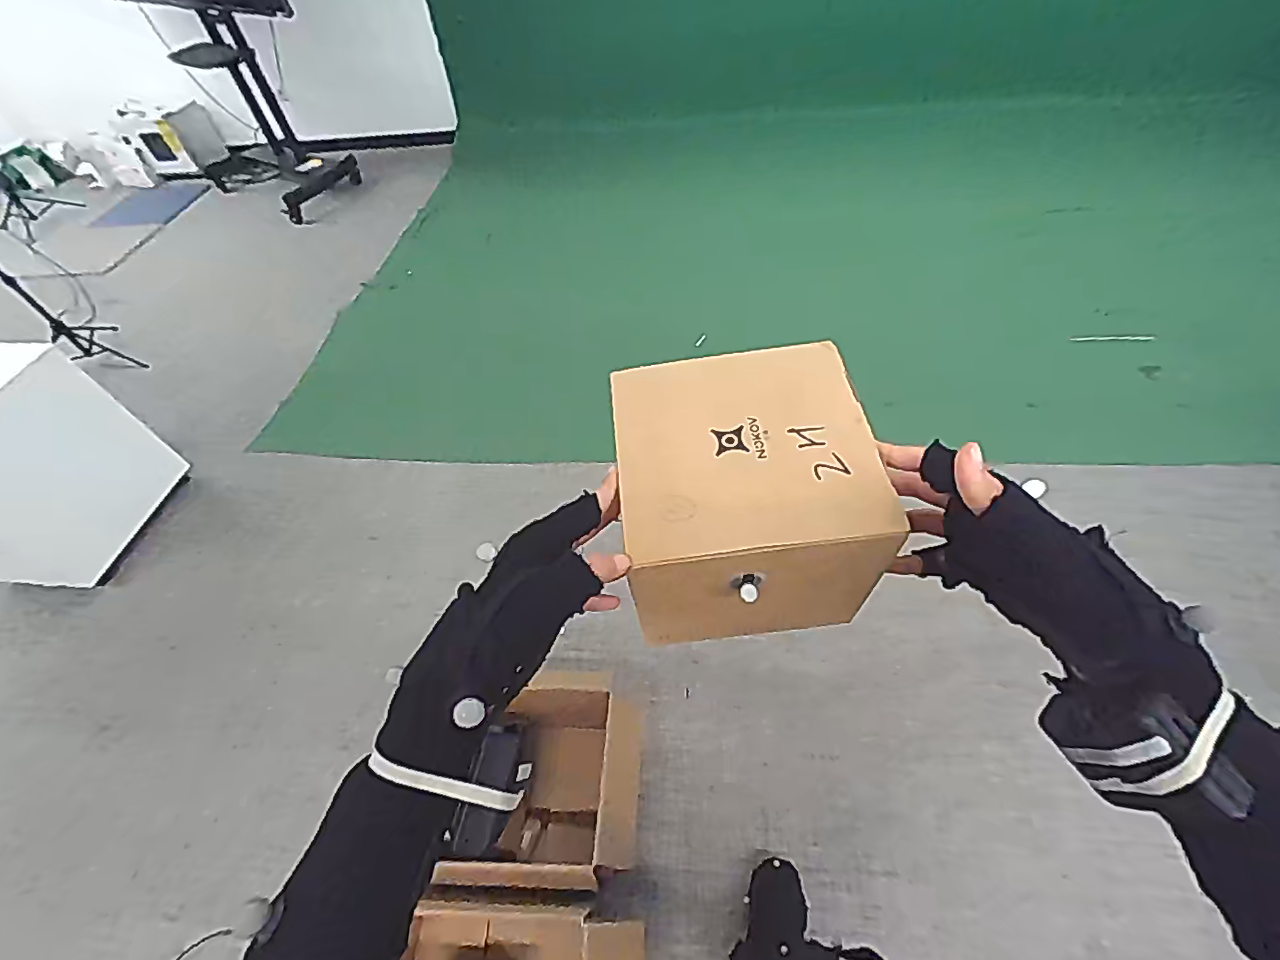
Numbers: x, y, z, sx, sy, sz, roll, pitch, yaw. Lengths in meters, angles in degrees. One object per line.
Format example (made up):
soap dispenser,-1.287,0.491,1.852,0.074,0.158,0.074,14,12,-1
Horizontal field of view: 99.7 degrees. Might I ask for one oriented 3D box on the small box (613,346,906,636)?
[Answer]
small box,0.079,0.018,0.438,0.179,0.176,0.168,-6,57,2
